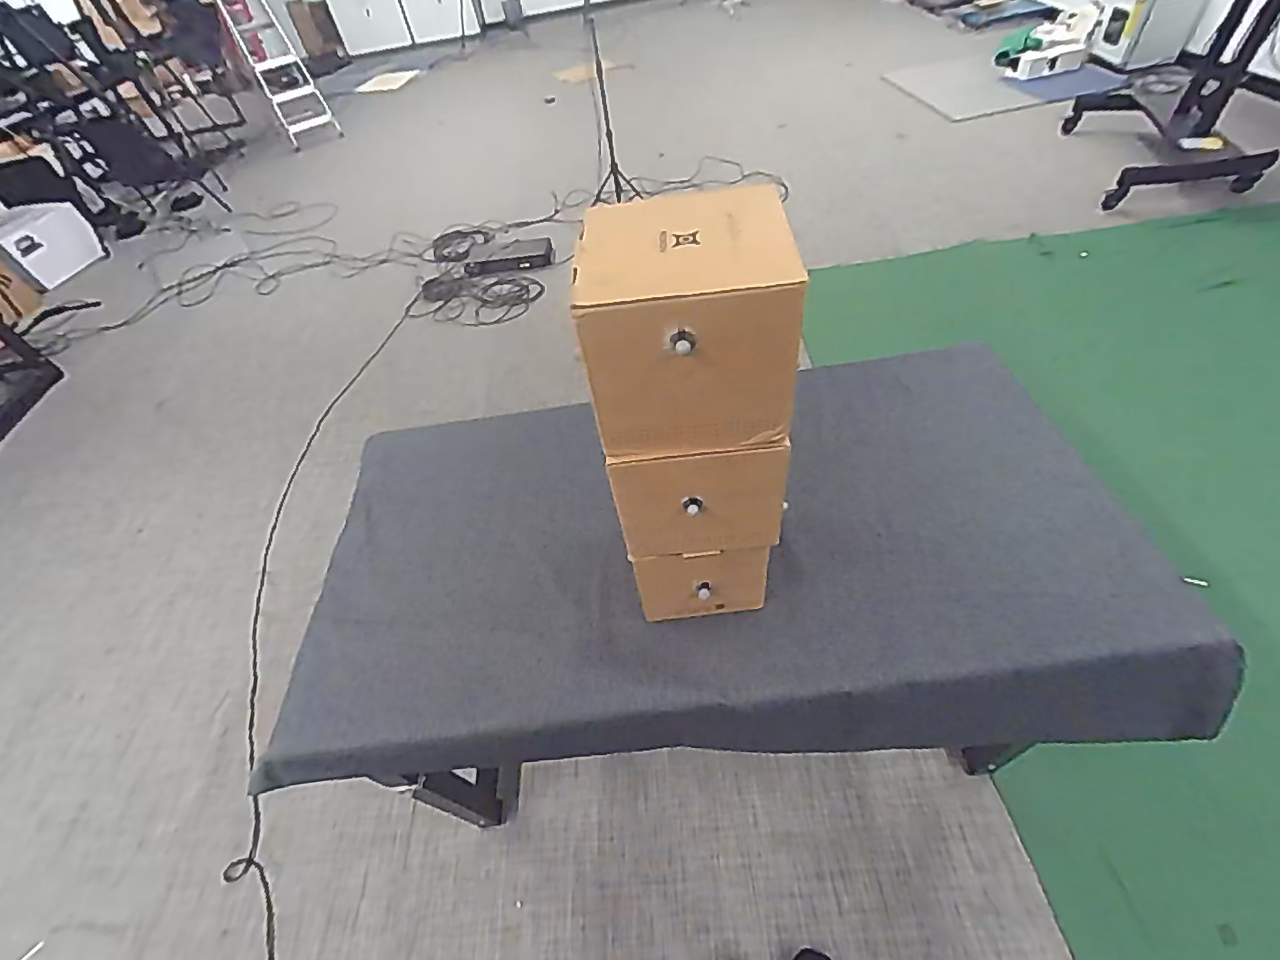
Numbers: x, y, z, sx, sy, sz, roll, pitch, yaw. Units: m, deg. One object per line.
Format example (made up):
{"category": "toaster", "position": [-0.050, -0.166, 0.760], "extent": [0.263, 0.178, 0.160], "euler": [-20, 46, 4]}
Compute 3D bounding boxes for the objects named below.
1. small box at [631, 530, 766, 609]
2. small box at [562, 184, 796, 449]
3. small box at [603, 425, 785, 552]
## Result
{"category": "small box", "position": [0.076, 0.065, 0.751], "extent": [0.168, 0.176, 0.179], "euler": [-9, 50, 3]}
{"category": "small box", "position": [0.039, -0.143, 0.503], "extent": [0.179, 0.176, 0.168], "euler": [-5, 51, 6]}
{"category": "small box", "position": [0.060, -0.034, 0.620], "extent": [0.179, 0.176, 0.168], "euler": [-7, 49, 6]}
